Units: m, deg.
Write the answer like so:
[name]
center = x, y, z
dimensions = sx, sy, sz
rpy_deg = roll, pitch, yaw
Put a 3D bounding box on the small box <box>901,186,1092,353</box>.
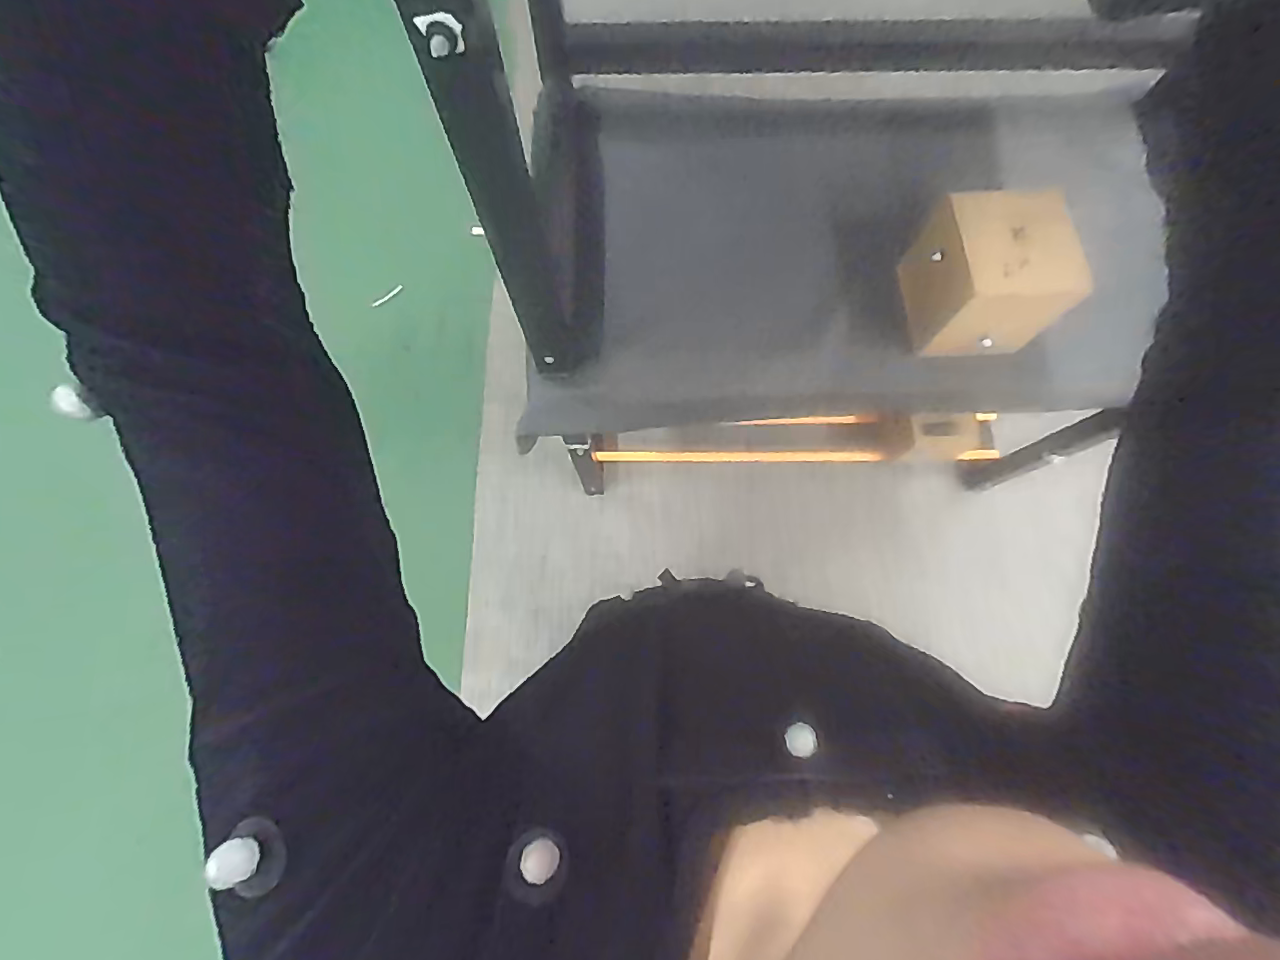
[small box]
center = 0.529, -0.317, 0.834
dimensions = 0.168, 0.176, 0.179
rpy_deg = -3, 73, 0
